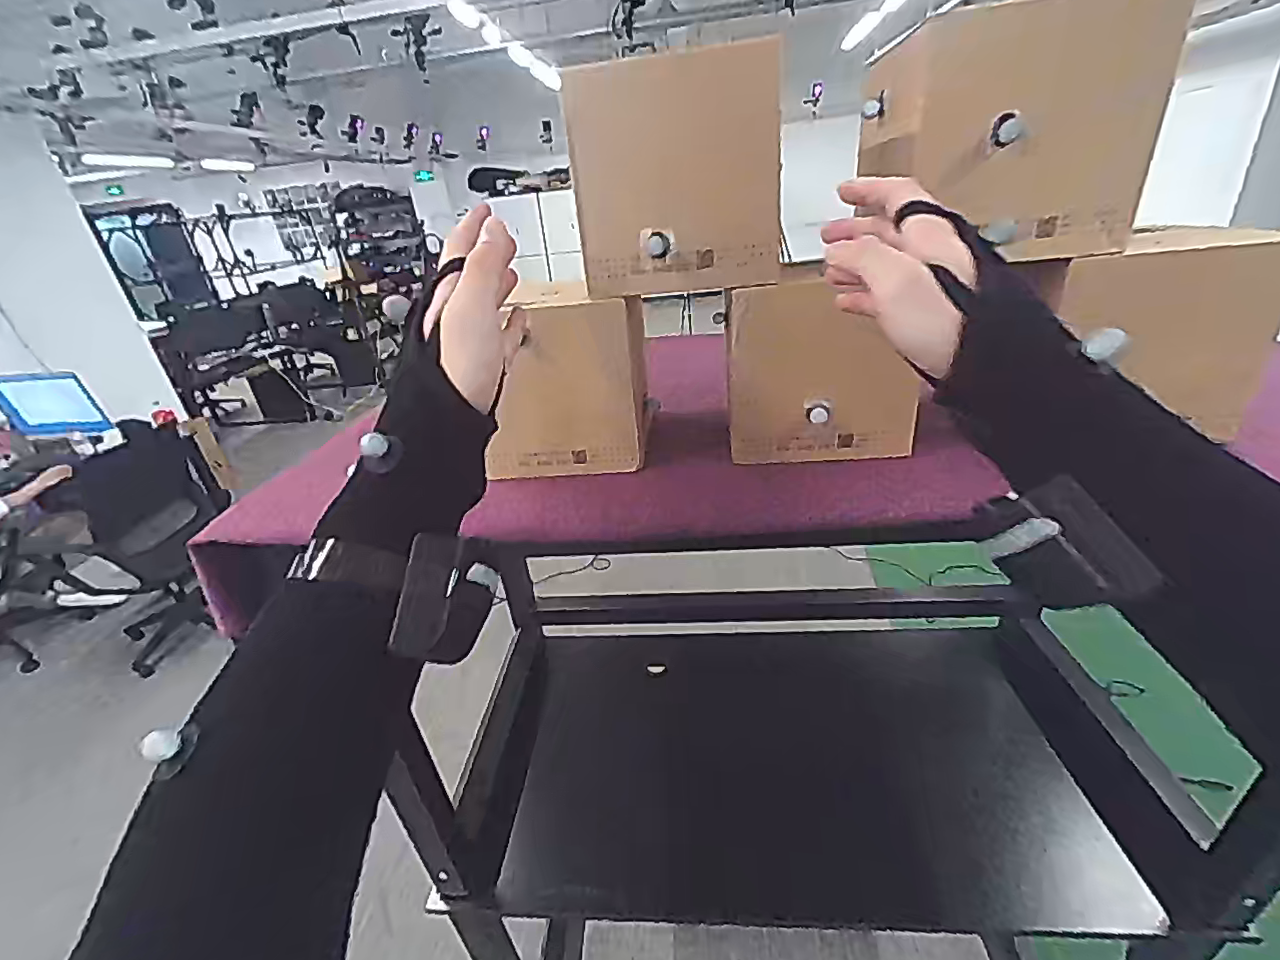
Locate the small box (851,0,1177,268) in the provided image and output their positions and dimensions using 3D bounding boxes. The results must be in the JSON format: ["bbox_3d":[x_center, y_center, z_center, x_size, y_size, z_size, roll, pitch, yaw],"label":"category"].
[{"bbox_3d":[0.286,-0.280,0.461,0.168,0.176,0.179,-2,26,8],"label":"small box"}]

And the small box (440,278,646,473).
[{"bbox_3d":[-0.085,-0.118,0.579,0.168,0.176,0.179,-3,26,6],"label":"small box"}]

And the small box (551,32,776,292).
[{"bbox_3d":[0.031,-0.272,0.496,0.168,0.176,0.179,-2,27,9],"label":"small box"}]
